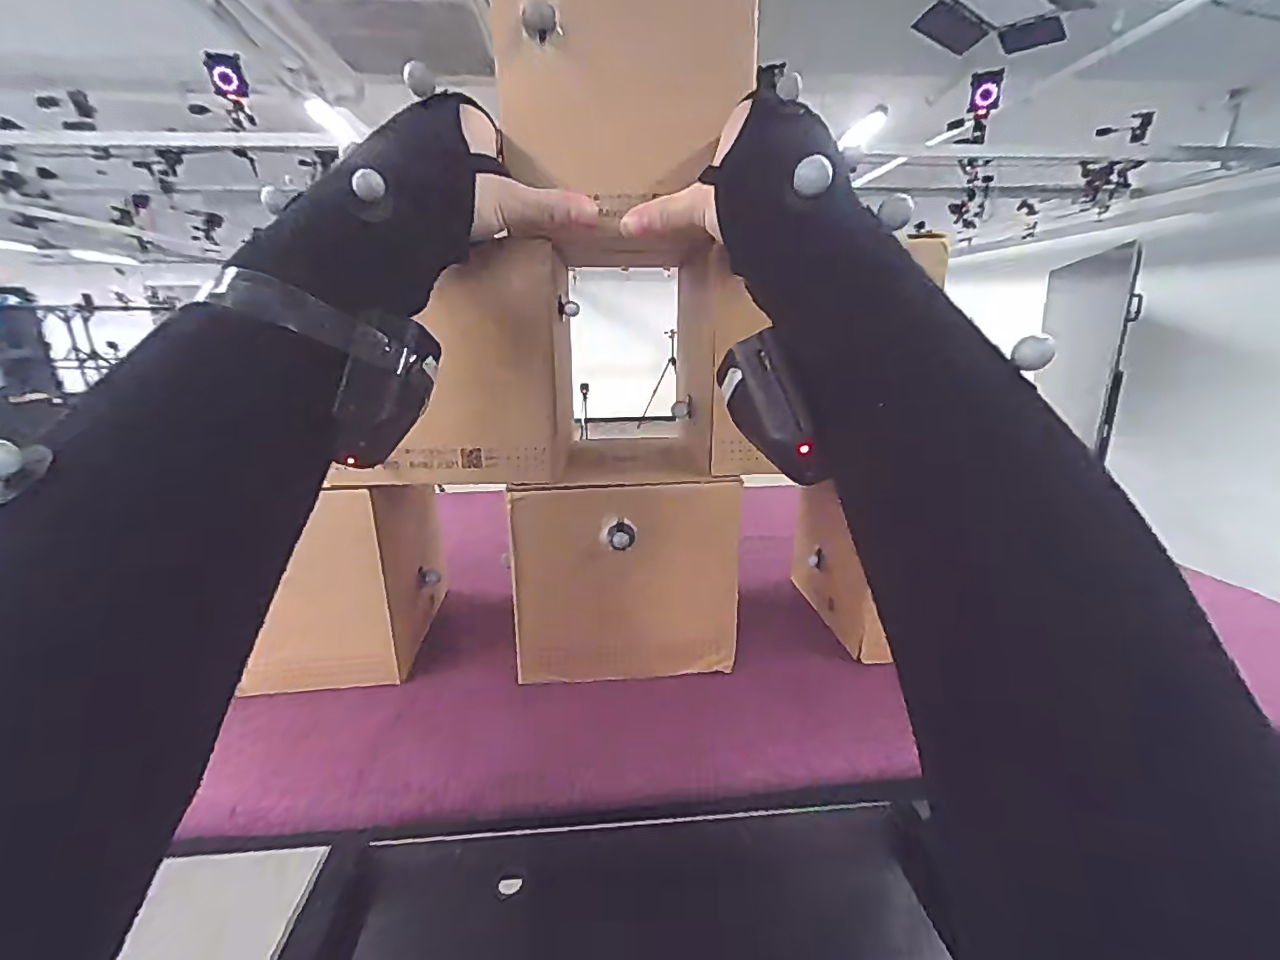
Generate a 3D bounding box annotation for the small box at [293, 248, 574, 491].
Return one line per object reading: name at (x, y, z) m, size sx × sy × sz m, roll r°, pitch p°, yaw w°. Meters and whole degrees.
small box at (-0.145, -0.090, 0.451) m, size 0.168 × 0.176 × 0.179 m, roll -1°, pitch 15°, yaw -3°

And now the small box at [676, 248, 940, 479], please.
small box at (0.123, -0.100, 0.469) m, size 0.168 × 0.176 × 0.179 m, roll -1°, pitch 16°, yaw -4°

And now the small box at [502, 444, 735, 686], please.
small box at (-0.018, 0.067, 0.490) m, size 0.179 × 0.176 × 0.168 m, roll -1°, pitch 16°, yaw -4°
